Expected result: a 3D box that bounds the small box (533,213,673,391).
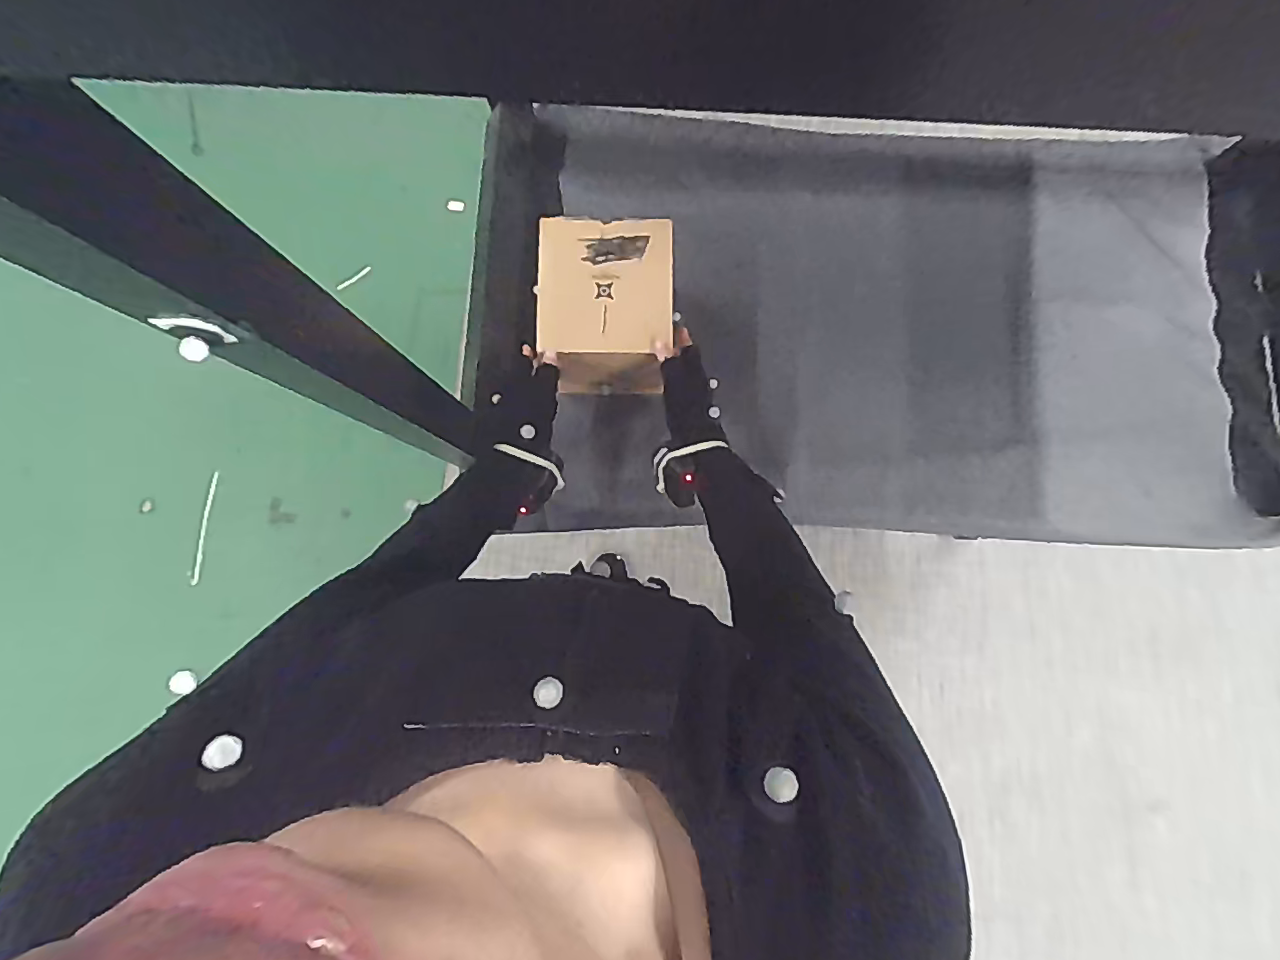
[{"bbox_3d":[-0.044,-0.230,0.731,0.168,0.176,0.179,1,83,0],"label":"small box"}]
